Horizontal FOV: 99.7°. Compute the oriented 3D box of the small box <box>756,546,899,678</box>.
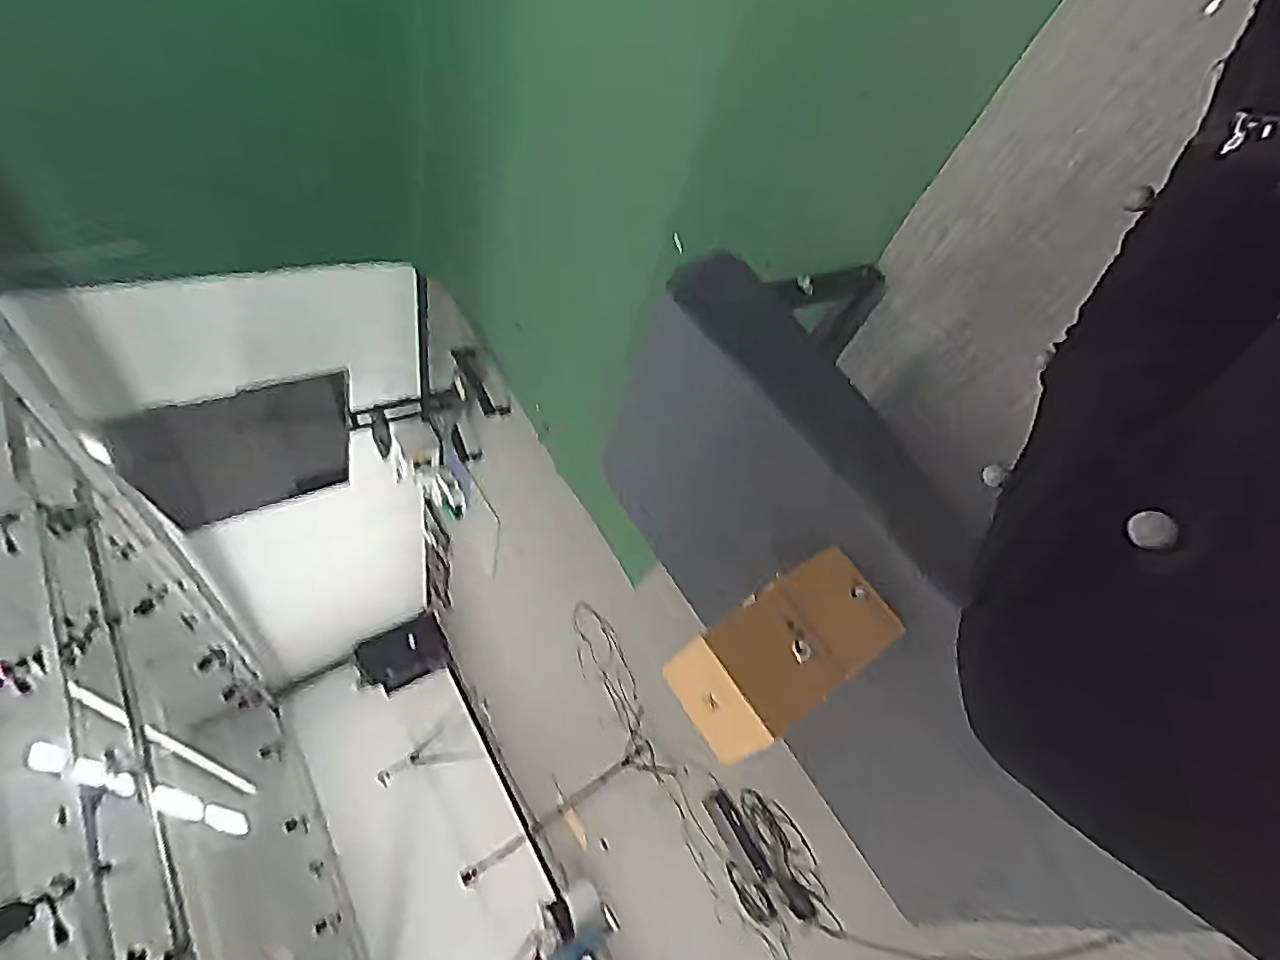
[{"bbox_3d":[0.299,0.233,0.937,0.179,0.176,0.168,55,147,22],"label":"small box"}]

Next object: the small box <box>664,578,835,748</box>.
[{"bbox_3d":[0.170,0.286,0.853,0.168,0.176,0.179,53,145,21],"label":"small box"}]
